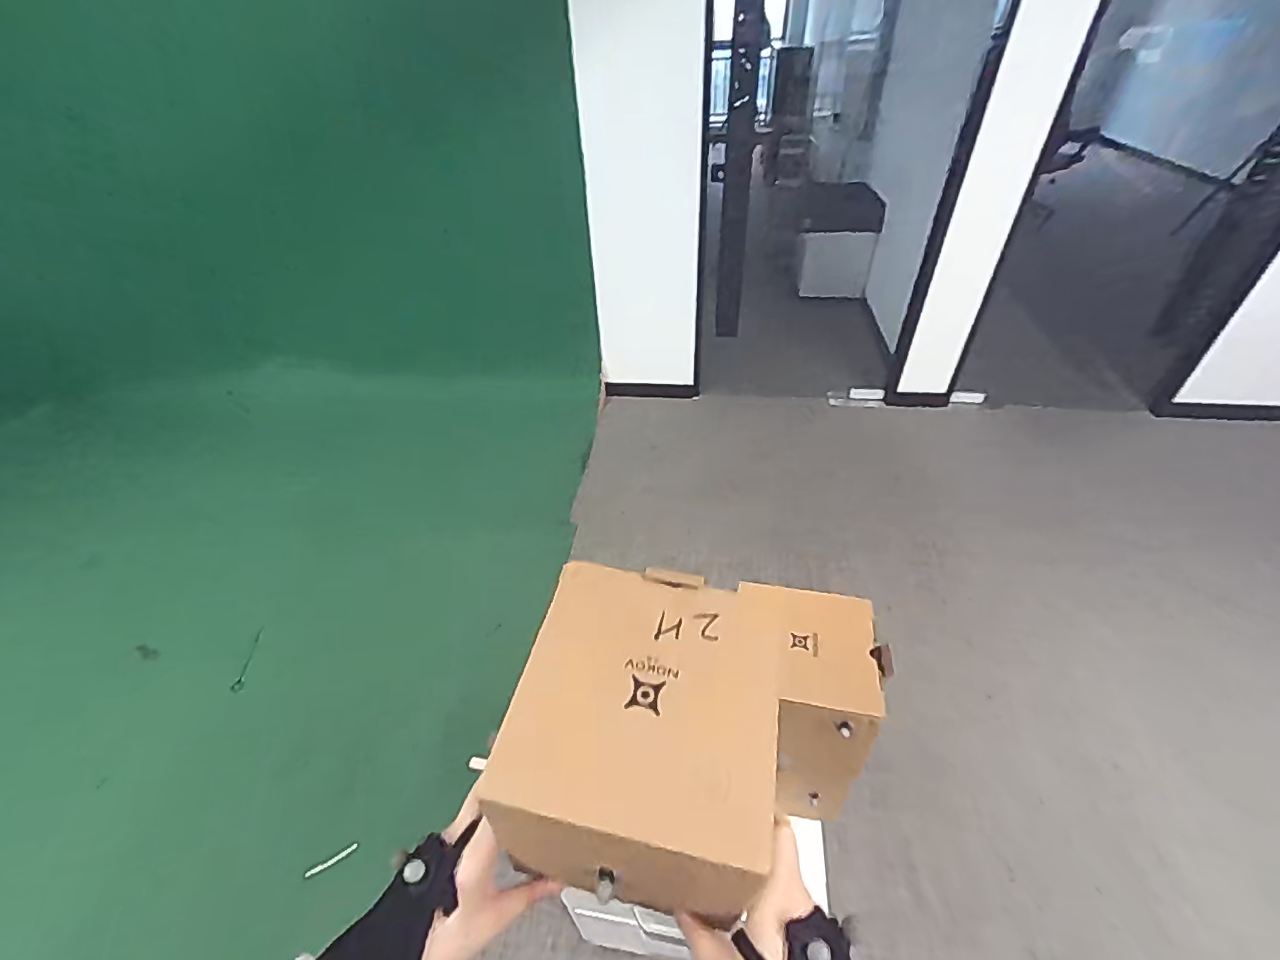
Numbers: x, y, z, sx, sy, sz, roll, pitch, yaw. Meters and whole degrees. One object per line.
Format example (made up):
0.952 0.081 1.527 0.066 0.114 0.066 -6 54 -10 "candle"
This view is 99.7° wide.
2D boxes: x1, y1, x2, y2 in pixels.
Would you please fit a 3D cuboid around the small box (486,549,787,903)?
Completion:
0.009 0.183 0.406 0.168 0.176 0.179 10 44 8 "small box"

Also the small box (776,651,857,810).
0.216 0.378 0.824 0.179 0.176 0.168 4 42 11 "small box"
